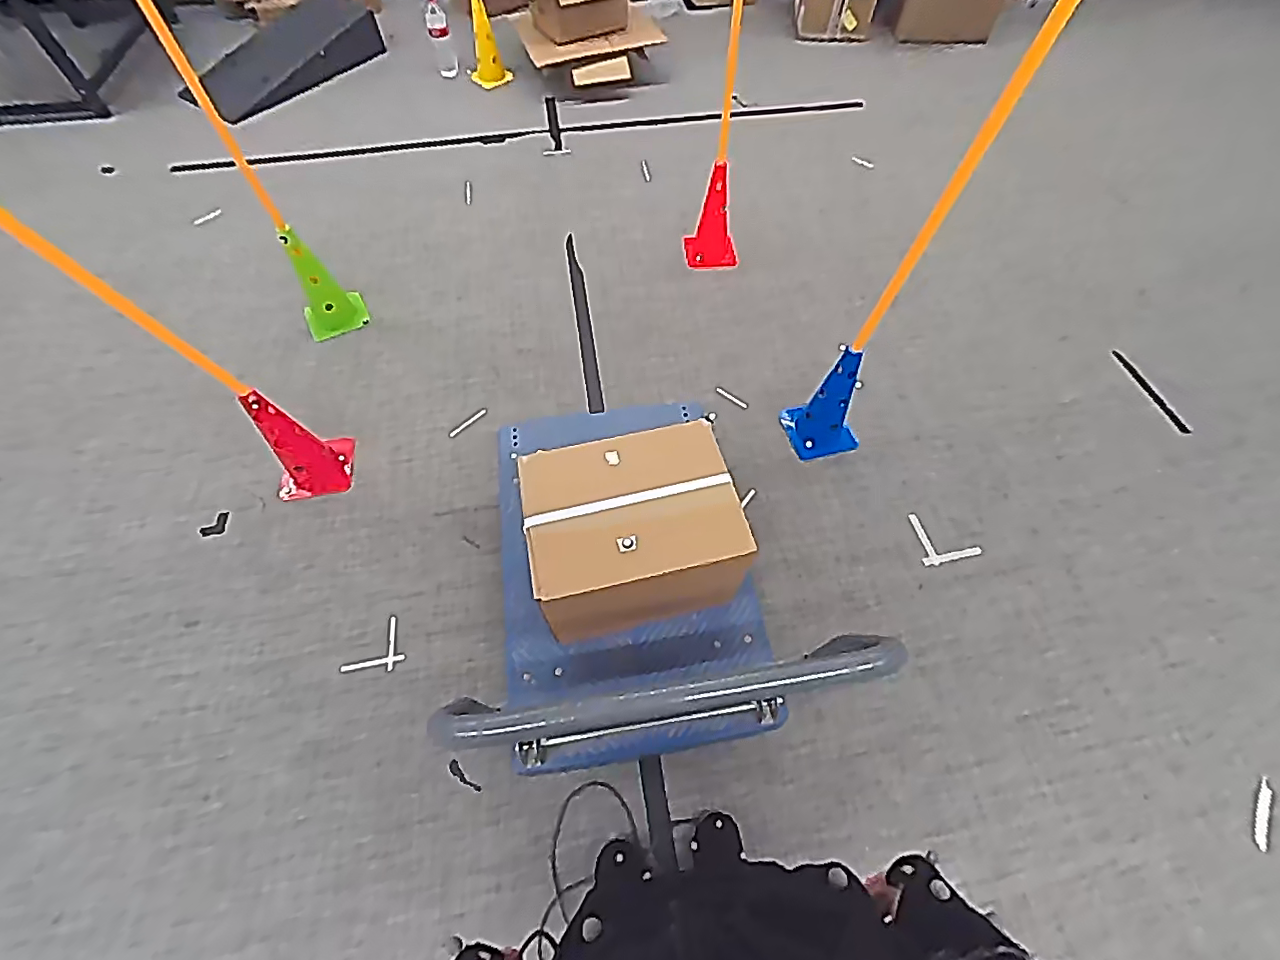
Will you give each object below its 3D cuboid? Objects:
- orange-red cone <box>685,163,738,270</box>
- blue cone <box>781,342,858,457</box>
[{"bbox_3d":[0.288,-0.996,2.022,0.199,0.360,0.198,-2,60,-3],"label":"orange-red cone"},{"bbox_3d":[0.566,-0.246,1.586,0.193,0.380,0.192,-12,58,-7],"label":"blue cone"}]
